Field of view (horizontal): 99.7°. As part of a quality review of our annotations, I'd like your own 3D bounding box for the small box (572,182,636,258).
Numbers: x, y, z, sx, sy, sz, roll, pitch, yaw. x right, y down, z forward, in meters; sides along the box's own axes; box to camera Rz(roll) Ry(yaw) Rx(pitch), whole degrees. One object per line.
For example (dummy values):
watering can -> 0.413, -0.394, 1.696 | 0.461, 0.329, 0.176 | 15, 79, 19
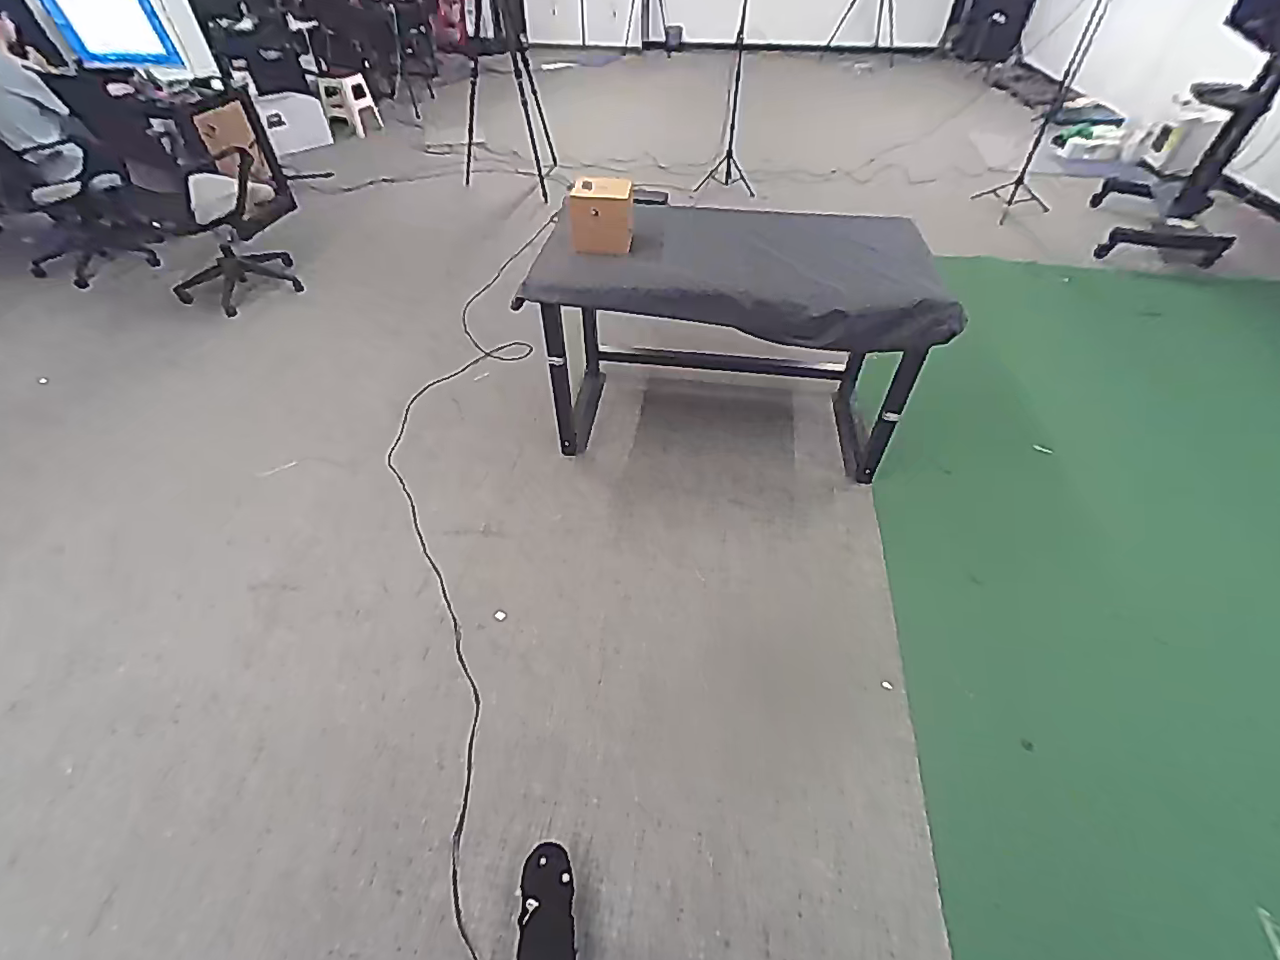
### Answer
small box -> -0.108, -0.812, 1.691 | 0.179, 0.176, 0.168 | 4, 46, 3
